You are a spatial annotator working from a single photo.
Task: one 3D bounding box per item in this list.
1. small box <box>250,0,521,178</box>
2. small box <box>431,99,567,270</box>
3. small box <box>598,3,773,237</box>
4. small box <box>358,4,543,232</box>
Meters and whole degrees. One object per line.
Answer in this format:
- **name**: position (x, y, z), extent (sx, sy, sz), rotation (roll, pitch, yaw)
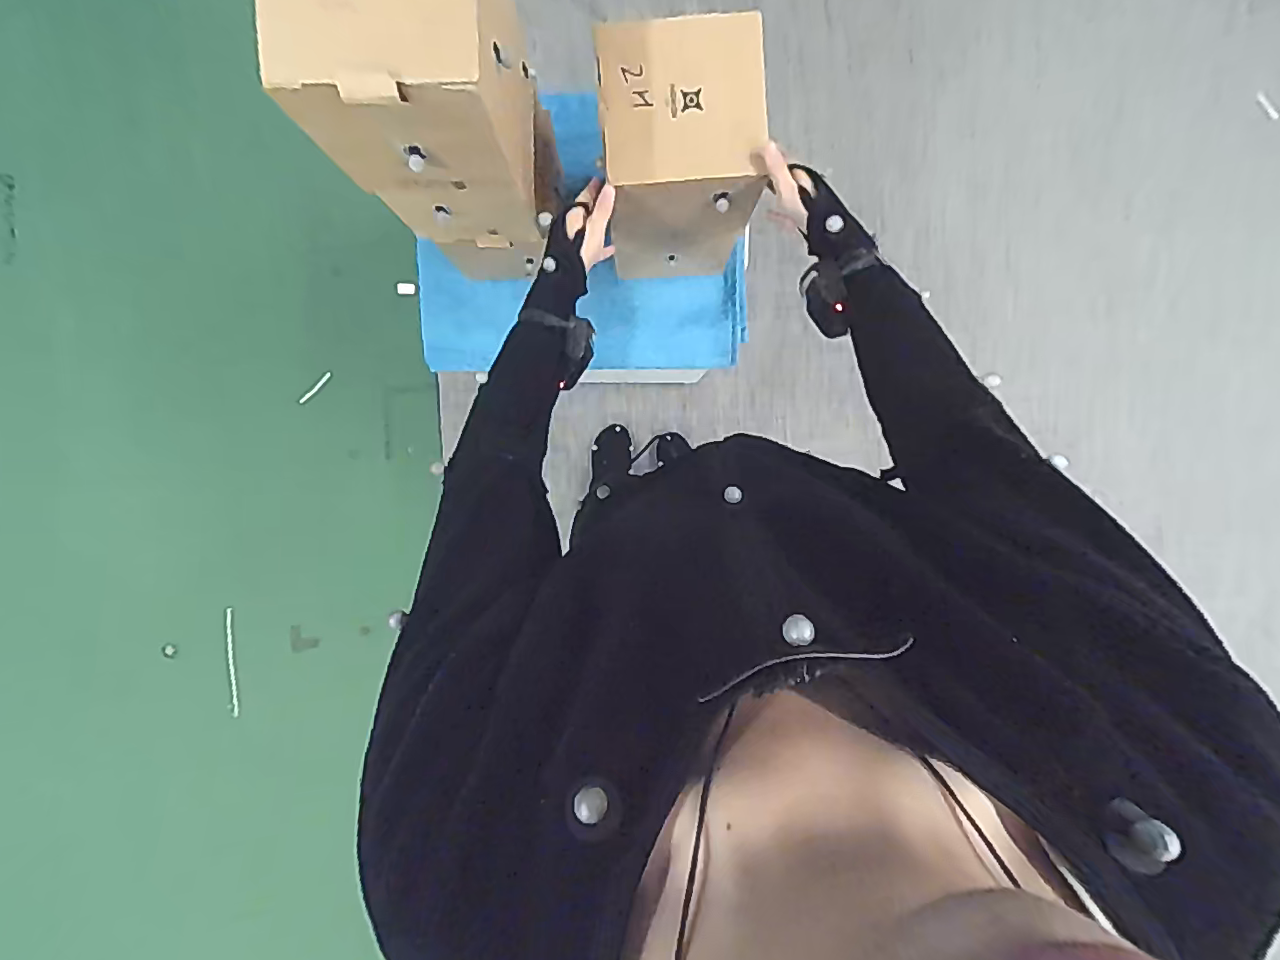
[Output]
- **small box**: position (-0.201, -0.390, 0.472), extent (0.168, 0.176, 0.179), rotation (1, 93, -2)
- **small box**: position (-0.198, -0.420, 0.796), extent (0.168, 0.176, 0.179), rotation (0, 93, -1)
- **small box**: position (0.048, -0.402, 0.632), extent (0.179, 0.176, 0.168), rotation (-3, 93, 2)
- **small box**: position (-0.209, -0.410, 0.635), extent (0.168, 0.176, 0.179), rotation (1, 92, -1)
